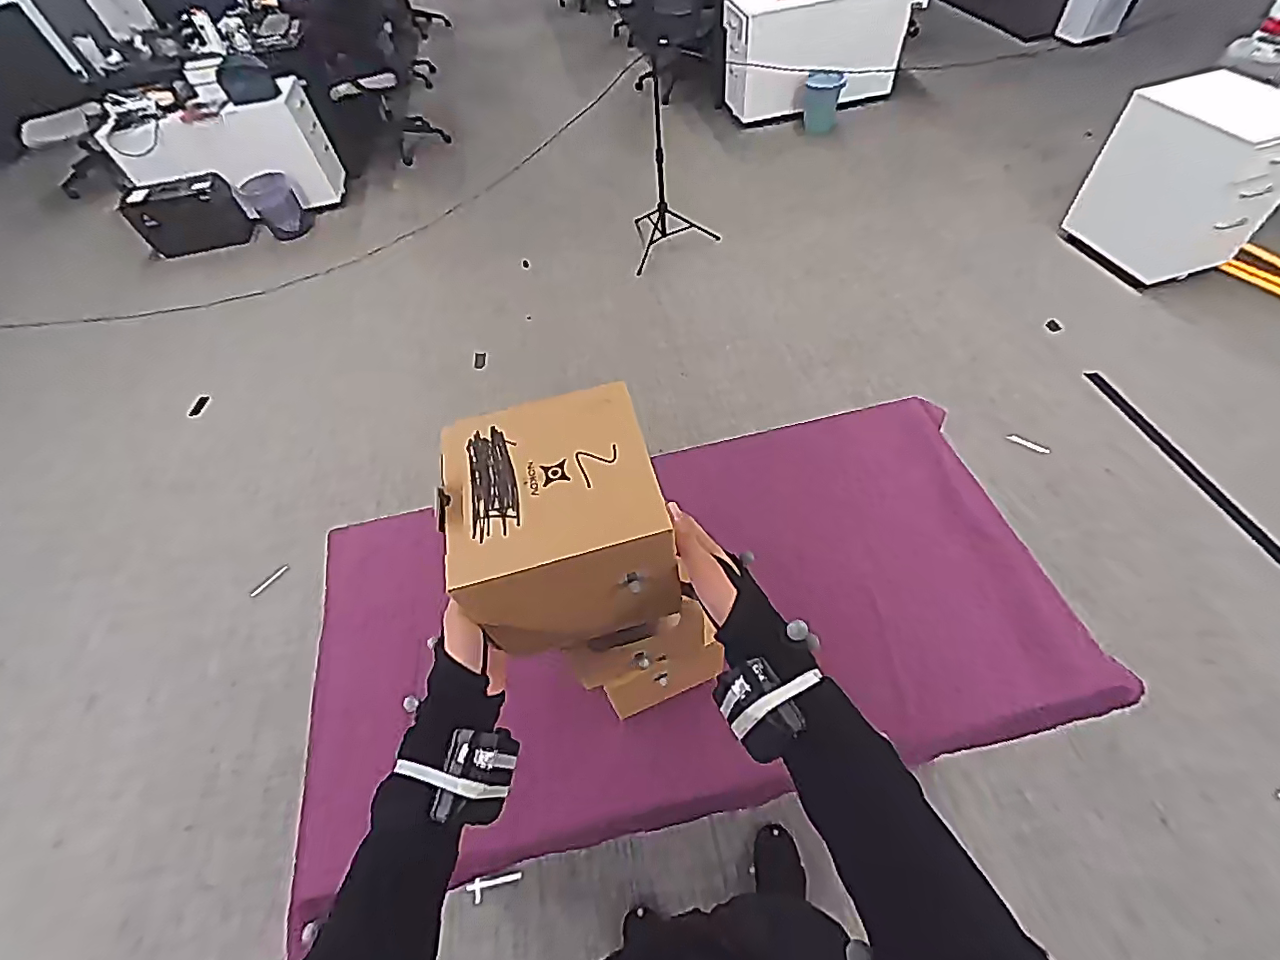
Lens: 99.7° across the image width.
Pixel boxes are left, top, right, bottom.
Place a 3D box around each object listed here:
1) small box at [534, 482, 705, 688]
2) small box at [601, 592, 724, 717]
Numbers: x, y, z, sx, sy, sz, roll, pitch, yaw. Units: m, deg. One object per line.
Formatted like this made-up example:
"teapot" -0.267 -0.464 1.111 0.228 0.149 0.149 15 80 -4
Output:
"small box" -0.024 0.135 0.685 0.168 0.176 0.179 -17 54 -5
"small box" 0.013 0.233 0.814 0.179 0.176 0.168 -21 55 -9
